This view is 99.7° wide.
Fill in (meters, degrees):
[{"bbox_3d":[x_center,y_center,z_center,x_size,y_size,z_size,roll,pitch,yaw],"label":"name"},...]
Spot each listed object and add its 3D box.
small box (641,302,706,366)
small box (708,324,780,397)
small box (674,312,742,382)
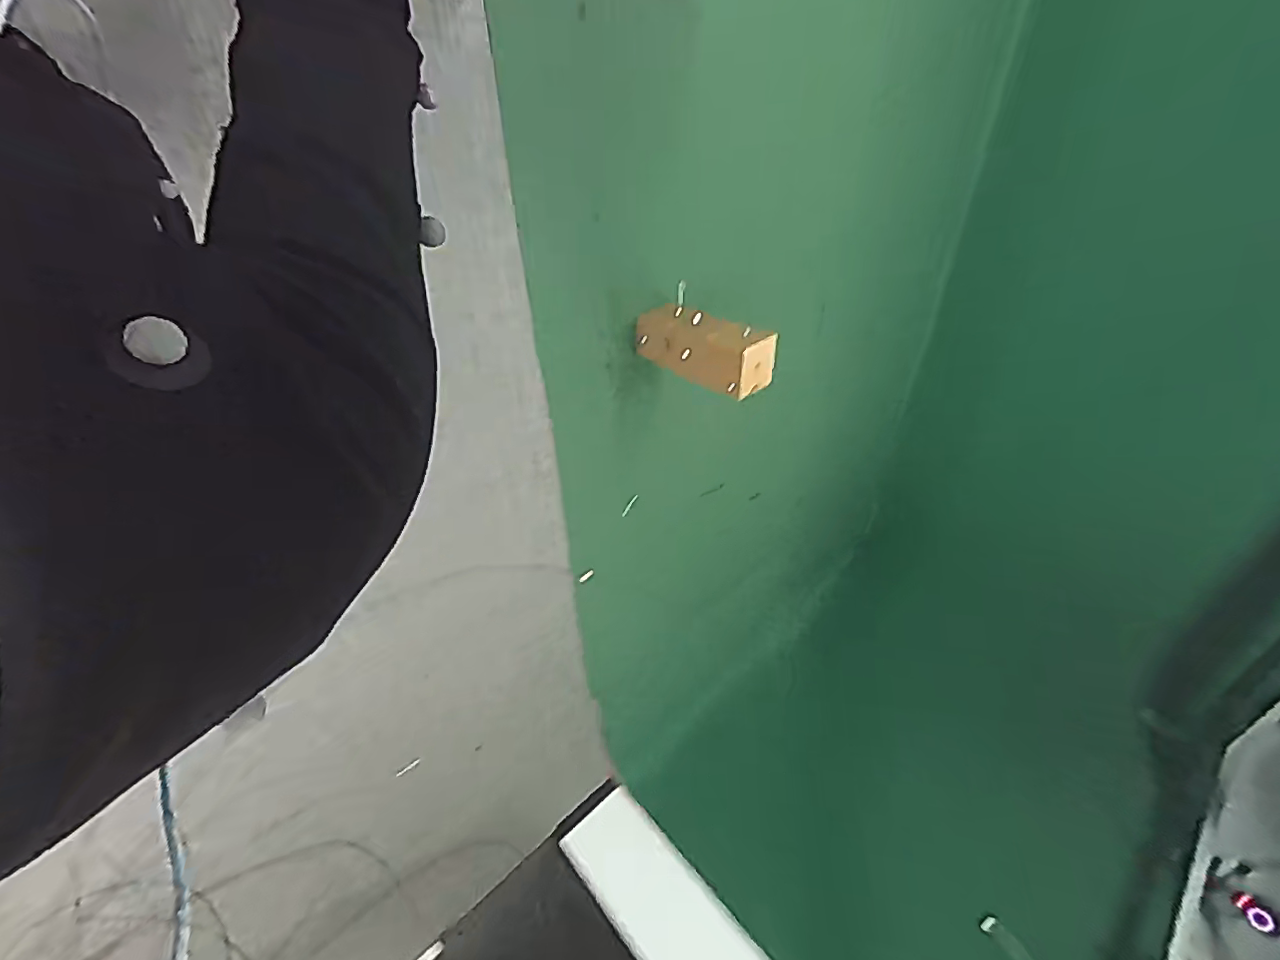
[{"bbox_3d":[0.121,-0.543,1.992,0.179,0.176,0.168,-29,133,-31],"label":"small box"},{"bbox_3d":[0.340,-0.404,1.793,0.168,0.176,0.179,-30,135,-31],"label":"small box"},{"bbox_3d":[0.234,-0.469,1.894,0.168,0.176,0.179,-28,134,-34],"label":"small box"}]
